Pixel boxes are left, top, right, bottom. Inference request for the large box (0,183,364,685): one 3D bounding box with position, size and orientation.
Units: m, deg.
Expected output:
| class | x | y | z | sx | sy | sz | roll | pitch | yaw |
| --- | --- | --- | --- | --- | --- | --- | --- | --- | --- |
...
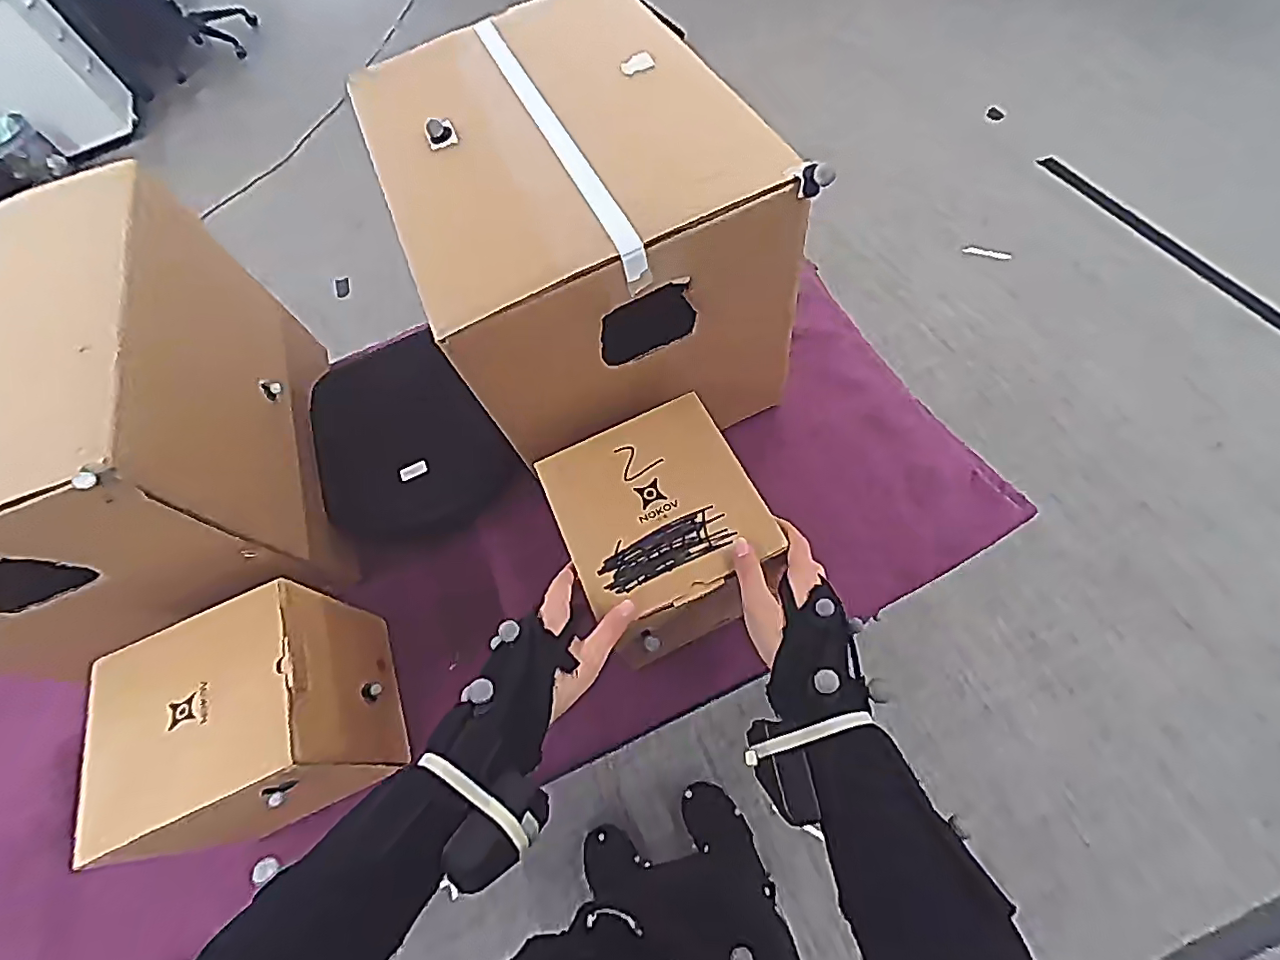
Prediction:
| class | x | y | z | sx | sy | sz | roll | pitch | yaw |
| --- | --- | --- | --- | --- | --- | --- | --- | --- | --- |
| large box | -0.569 | -0.033 | 0.610 | 0.320 | 0.320 | 0.408 | -24 | 65 | -2 |
